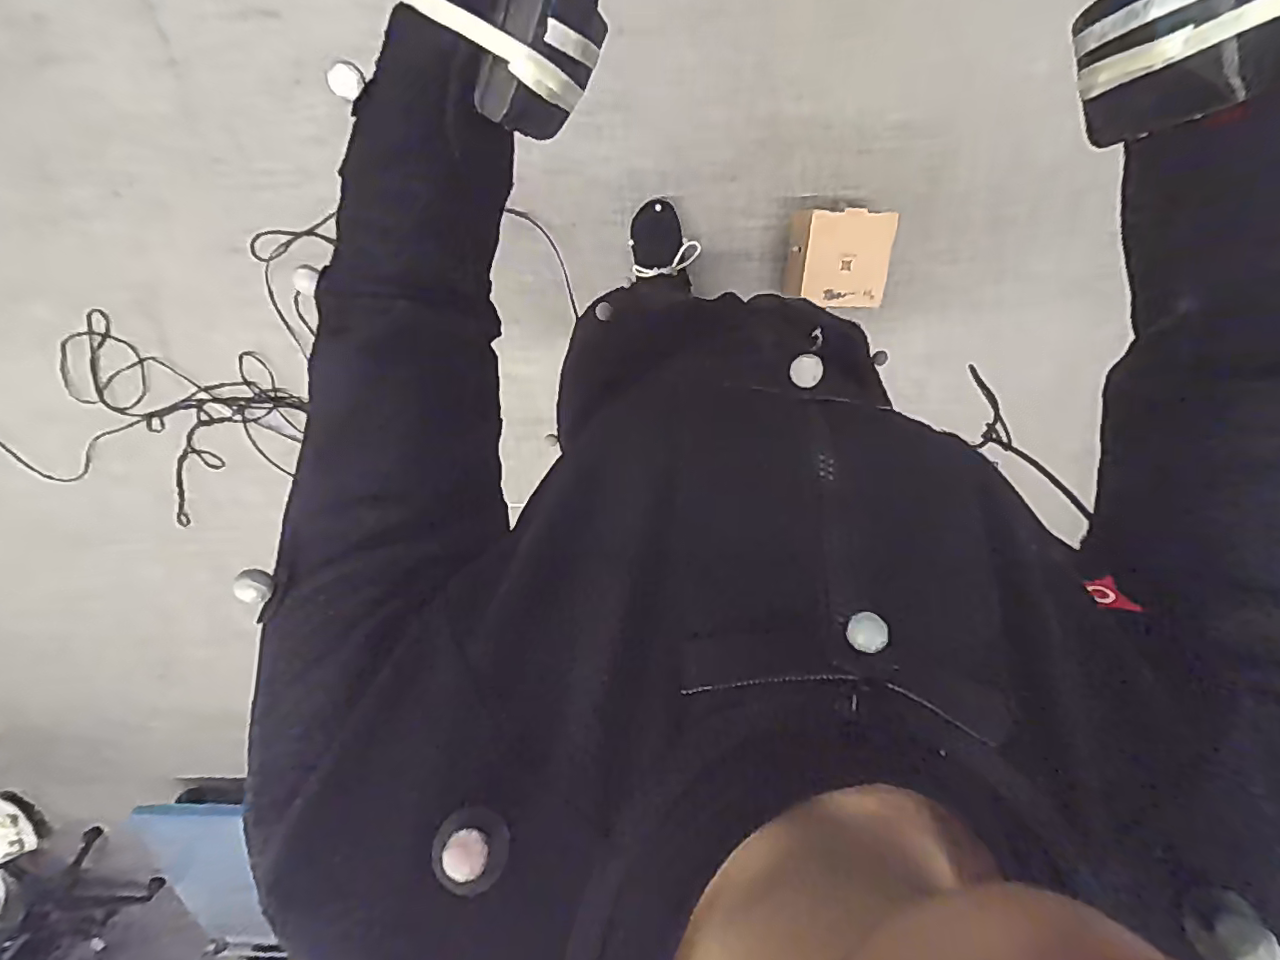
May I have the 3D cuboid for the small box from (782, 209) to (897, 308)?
[{"bbox_3d":[0.402,-0.460,1.122,0.168,0.176,0.179,1,115,1],"label":"small box"}]
